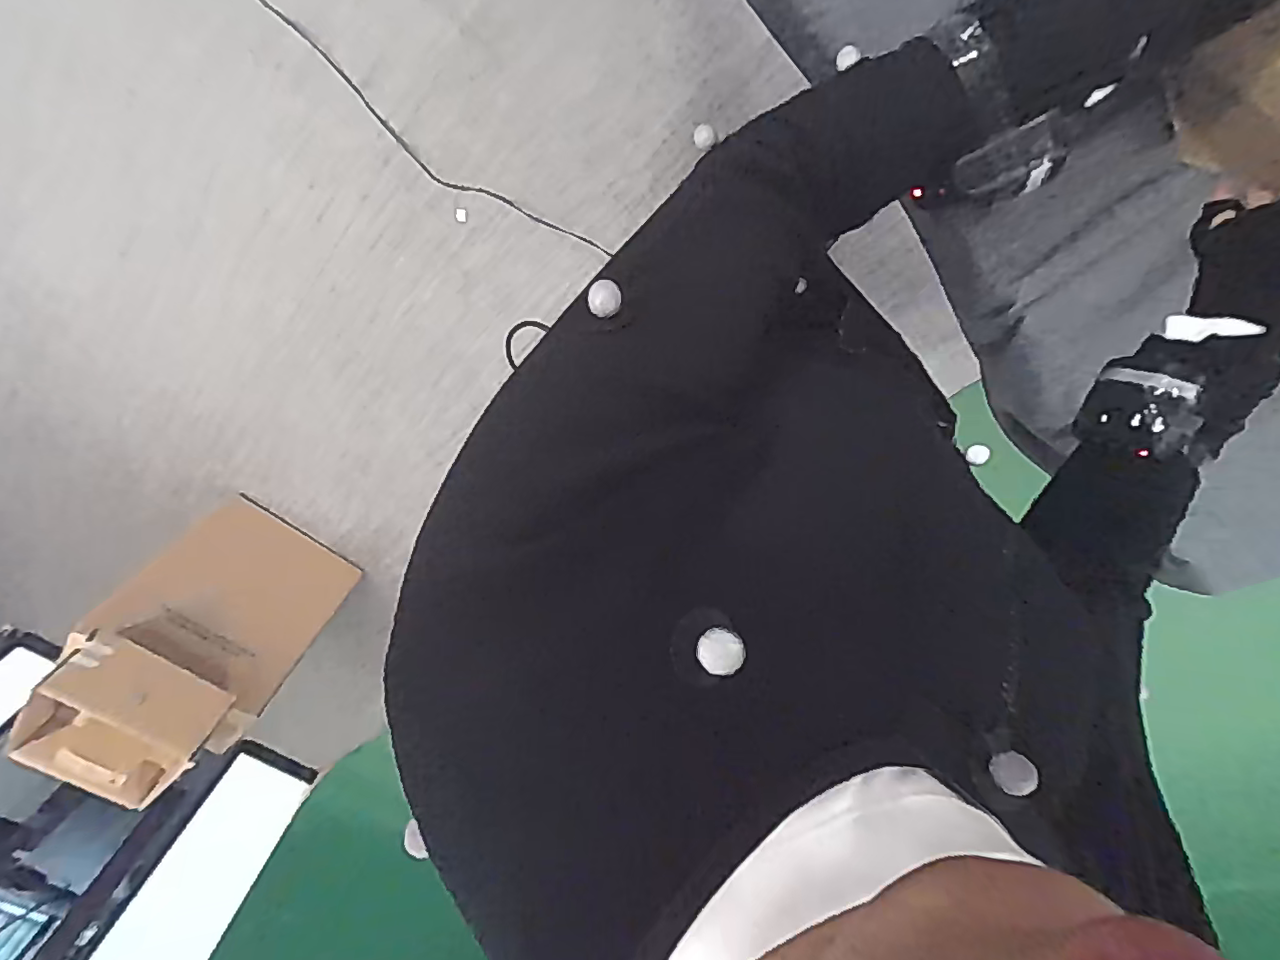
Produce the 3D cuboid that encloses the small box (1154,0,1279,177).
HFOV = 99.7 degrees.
[{"bbox_3d":[0.466,-0.308,0.326,0.179,0.176,0.168,-31,118,29],"label":"small box"}]

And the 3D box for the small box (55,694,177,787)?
[{"bbox_3d":[-1.493,0.736,1.545,0.179,0.176,0.168,42,124,-17],"label":"small box"}]
